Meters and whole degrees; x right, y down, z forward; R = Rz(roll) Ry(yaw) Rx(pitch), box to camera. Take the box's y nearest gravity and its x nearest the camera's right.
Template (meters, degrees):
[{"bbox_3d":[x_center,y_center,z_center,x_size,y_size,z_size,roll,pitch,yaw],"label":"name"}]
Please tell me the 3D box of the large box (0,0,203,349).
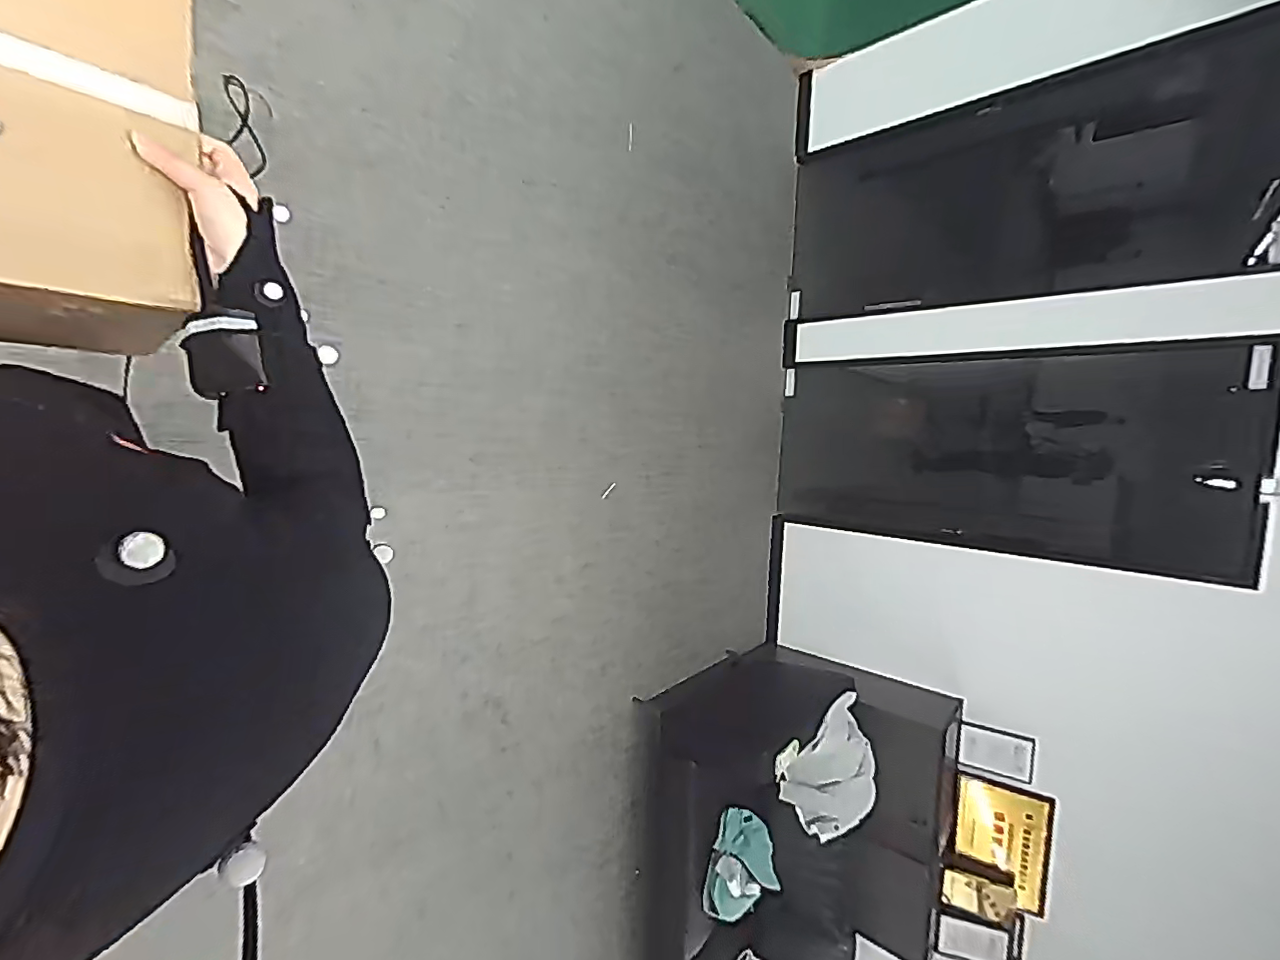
[{"bbox_3d":[-0.616,-0.294,0.399,0.408,0.320,0.320,-3,95,-49],"label":"large box"}]
